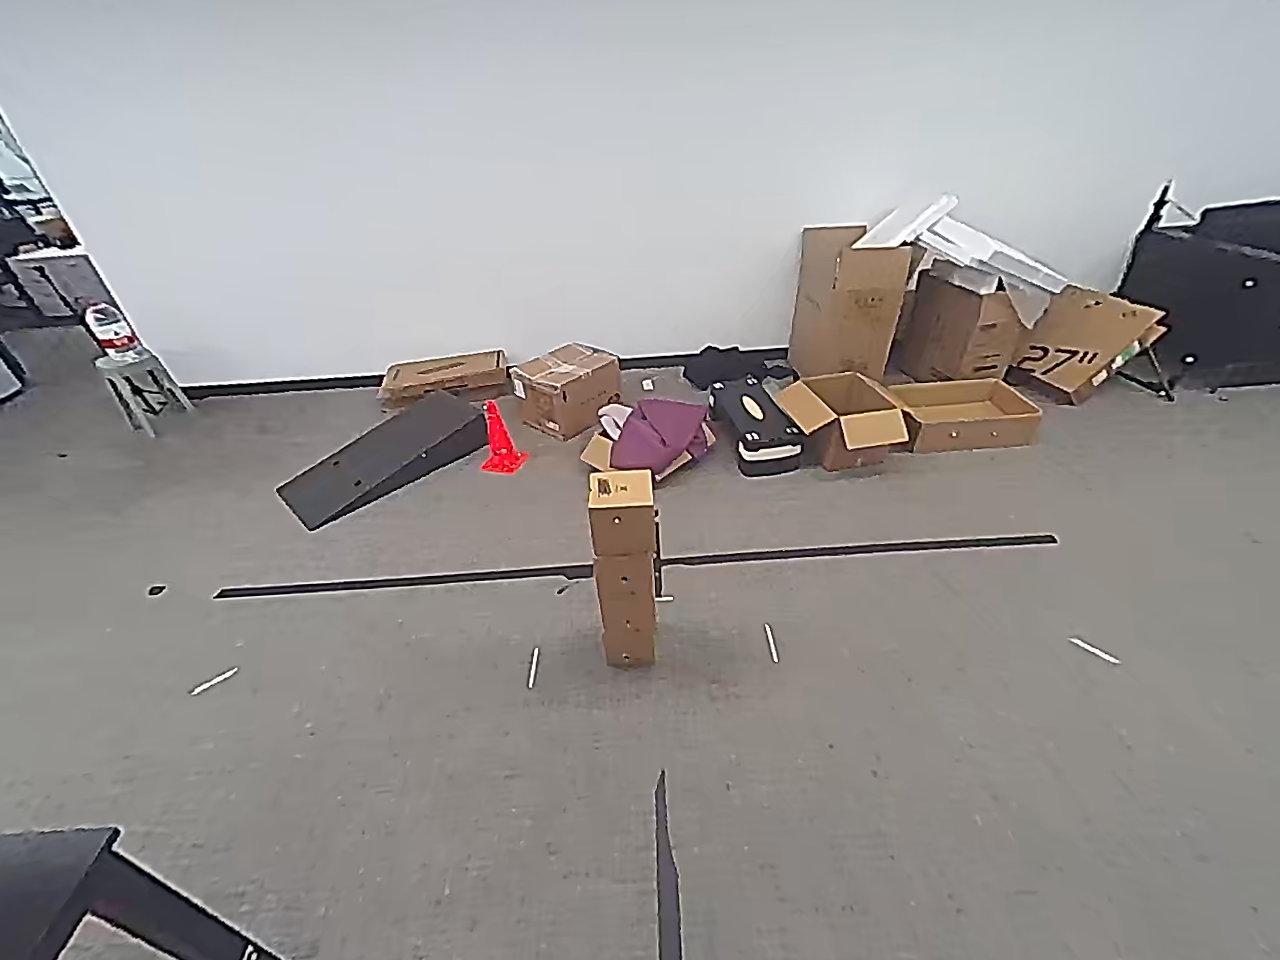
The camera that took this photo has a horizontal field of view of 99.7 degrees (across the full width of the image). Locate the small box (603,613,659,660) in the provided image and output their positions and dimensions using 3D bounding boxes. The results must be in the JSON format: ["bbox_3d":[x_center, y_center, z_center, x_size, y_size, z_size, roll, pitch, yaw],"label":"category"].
[{"bbox_3d":[-0.026,0.449,1.729,0.168,0.176,0.179,-4,37,1],"label":"small box"}]

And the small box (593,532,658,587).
[{"bbox_3d":[-0.038,0.188,1.529,0.168,0.176,0.179,-4,36,2],"label":"small box"}]

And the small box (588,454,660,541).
[{"bbox_3d":[-0.040,0.048,1.441,0.179,0.176,0.168,-4,35,0],"label":"small box"}]

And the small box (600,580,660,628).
[{"bbox_3d":[-0.027,0.320,1.626,0.168,0.176,0.179,-4,36,2],"label":"small box"}]
